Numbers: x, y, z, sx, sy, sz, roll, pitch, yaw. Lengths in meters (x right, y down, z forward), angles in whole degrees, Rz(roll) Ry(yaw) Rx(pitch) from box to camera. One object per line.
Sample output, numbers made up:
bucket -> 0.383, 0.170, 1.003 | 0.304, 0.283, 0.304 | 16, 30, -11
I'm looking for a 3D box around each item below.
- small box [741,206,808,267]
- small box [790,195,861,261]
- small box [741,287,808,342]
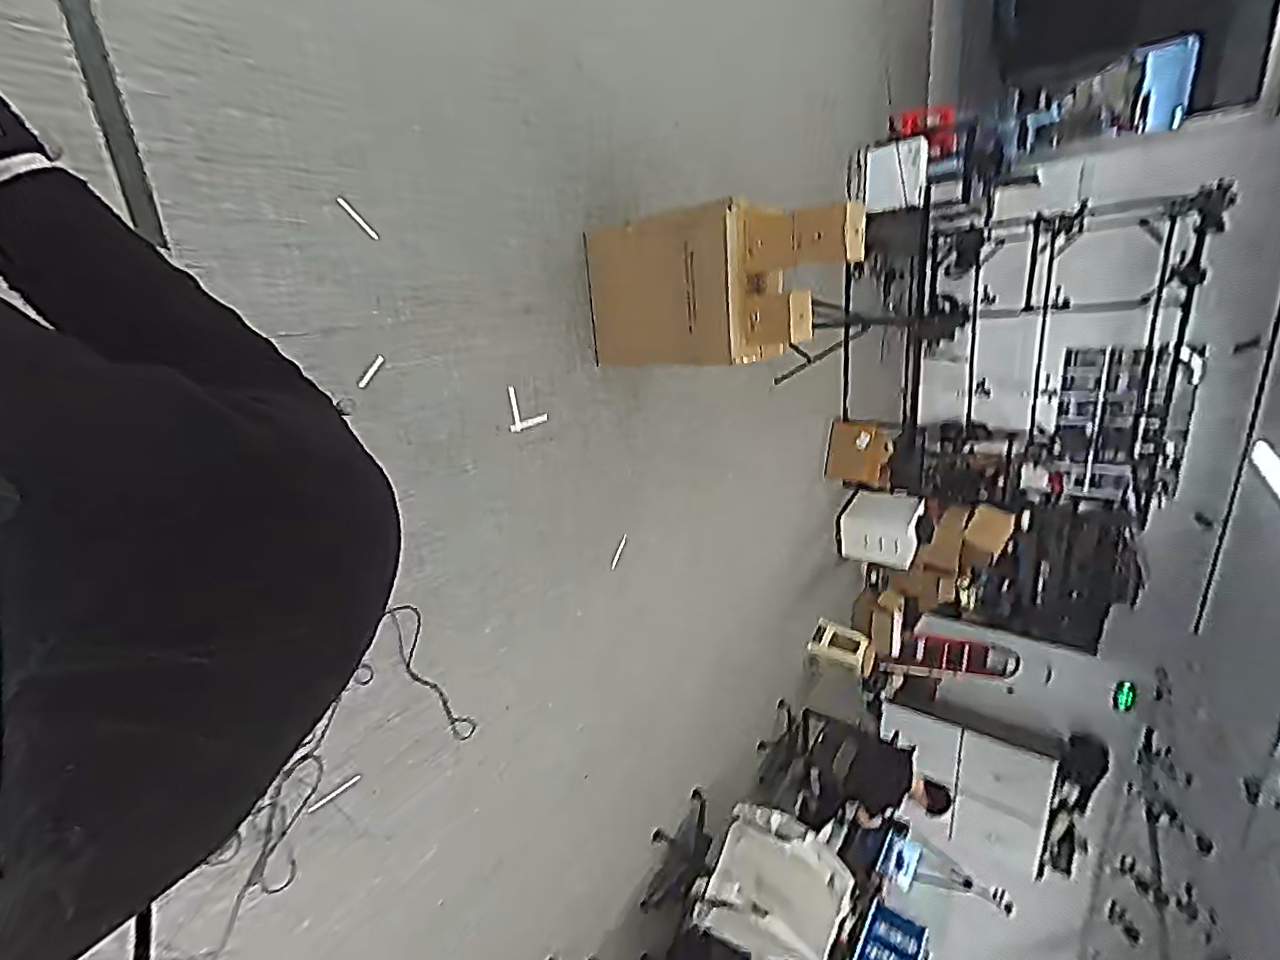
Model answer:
small box -> 0.452, -0.807, 1.802 | 0.179, 0.176, 0.168 | -27, 118, -46
small box -> 0.581, -0.788, 1.703 | 0.179, 0.176, 0.168 | -28, 119, -45
small box -> 0.465, -0.572, 1.865 | 0.179, 0.176, 0.168 | -24, 113, -46
